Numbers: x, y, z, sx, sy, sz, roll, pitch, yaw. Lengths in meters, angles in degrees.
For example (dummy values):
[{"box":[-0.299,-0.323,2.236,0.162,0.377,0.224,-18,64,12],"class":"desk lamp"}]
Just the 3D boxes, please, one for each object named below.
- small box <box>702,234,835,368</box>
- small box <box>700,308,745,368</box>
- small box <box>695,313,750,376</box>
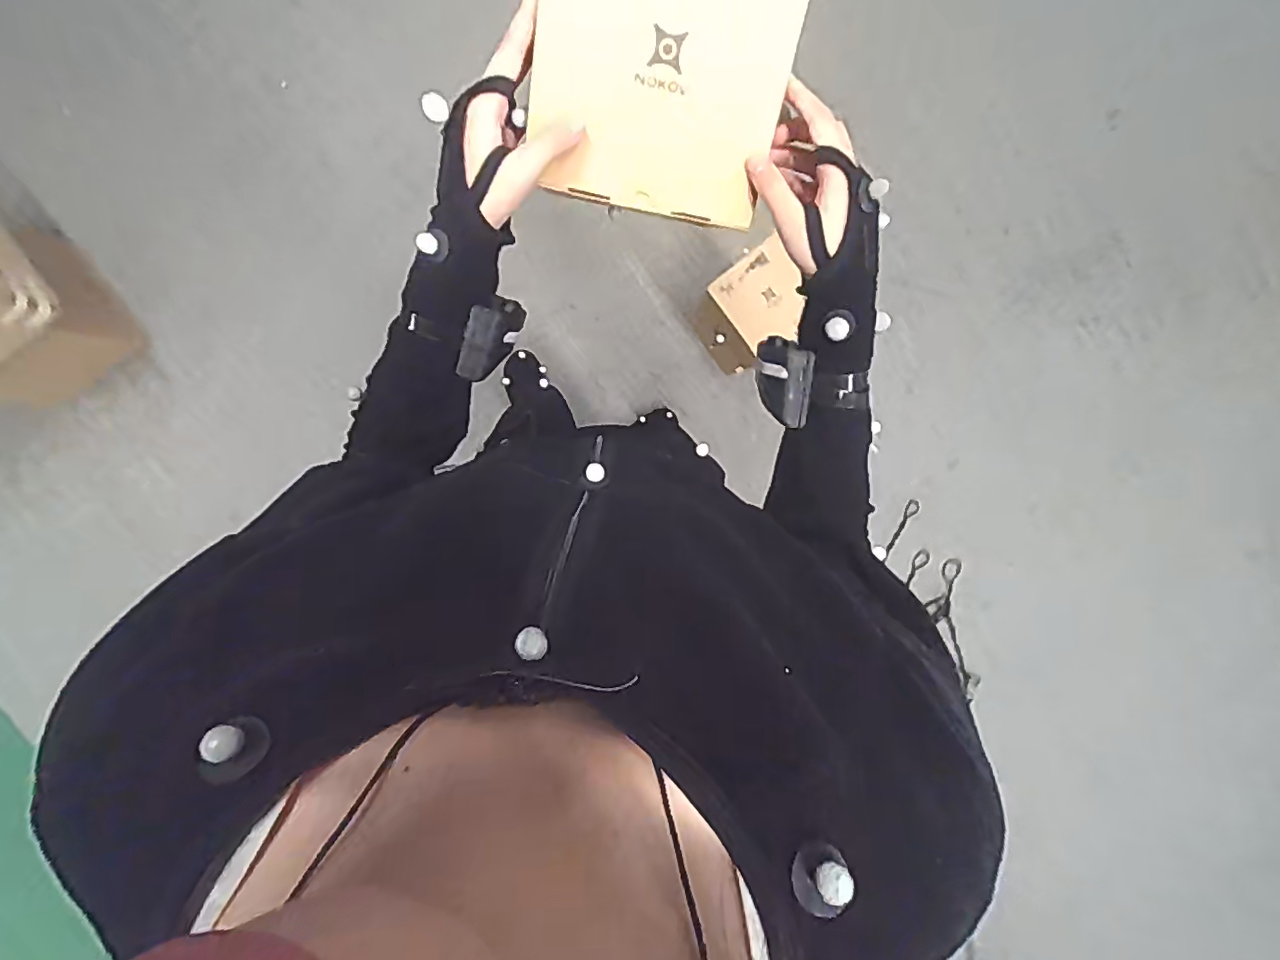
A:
[{"box":[0.238,-0.332,1.045,0.168,0.176,0.179,-36,96,5],"class":"small box"},{"box":[0.249,-0.366,1.206,0.168,0.176,0.179,-34,96,6],"class":"small box"},{"box":[0.255,-0.379,1.369,0.168,0.176,0.179,-34,96,5],"class":"small box"}]
